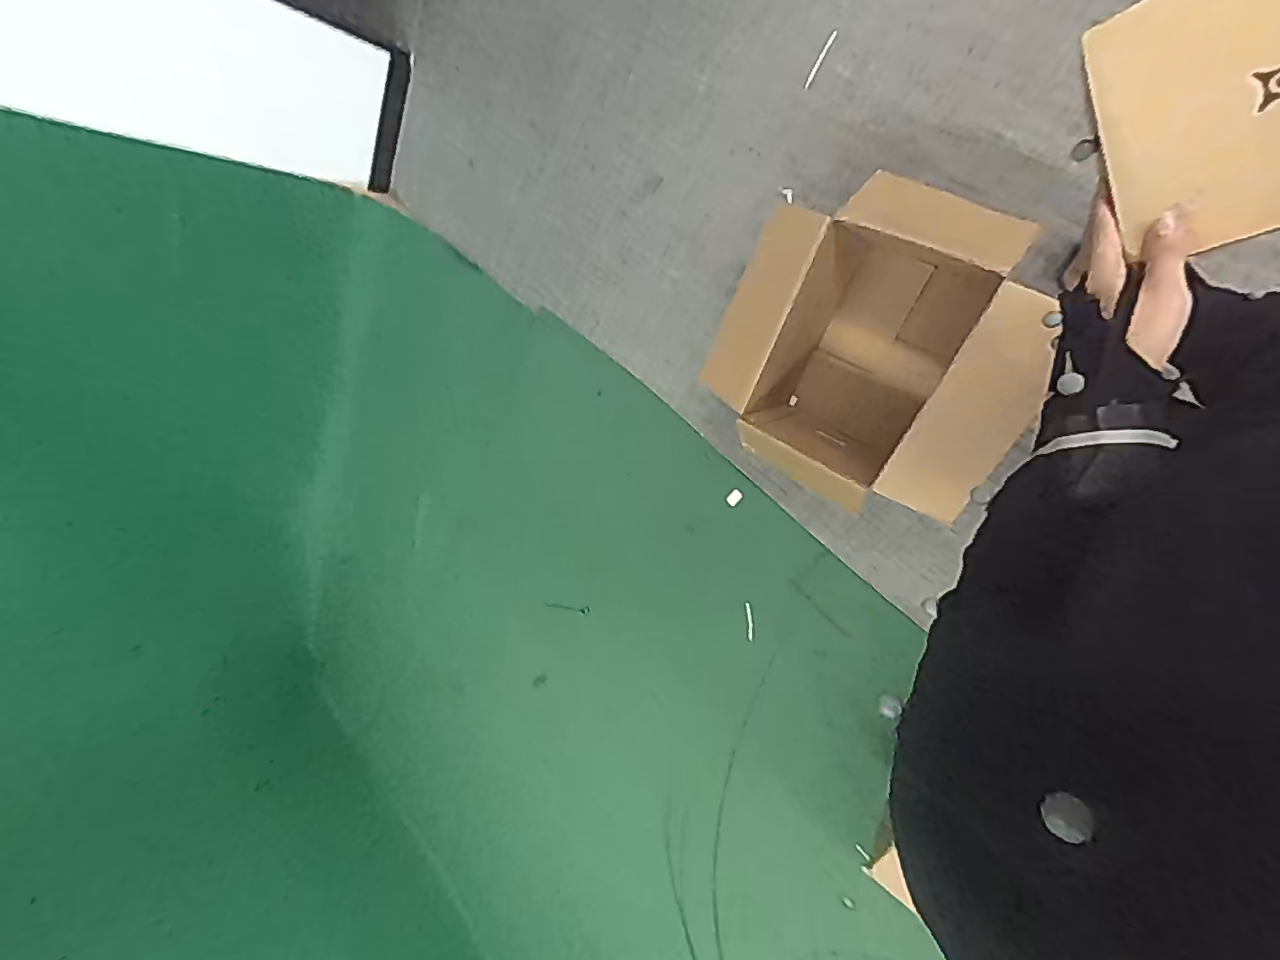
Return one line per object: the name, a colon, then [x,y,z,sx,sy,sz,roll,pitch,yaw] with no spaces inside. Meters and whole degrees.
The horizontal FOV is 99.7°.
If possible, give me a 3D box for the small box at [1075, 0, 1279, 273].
small box: [0.430,-0.255,0.375,0.179,0.176,0.168,-11,98,42]
